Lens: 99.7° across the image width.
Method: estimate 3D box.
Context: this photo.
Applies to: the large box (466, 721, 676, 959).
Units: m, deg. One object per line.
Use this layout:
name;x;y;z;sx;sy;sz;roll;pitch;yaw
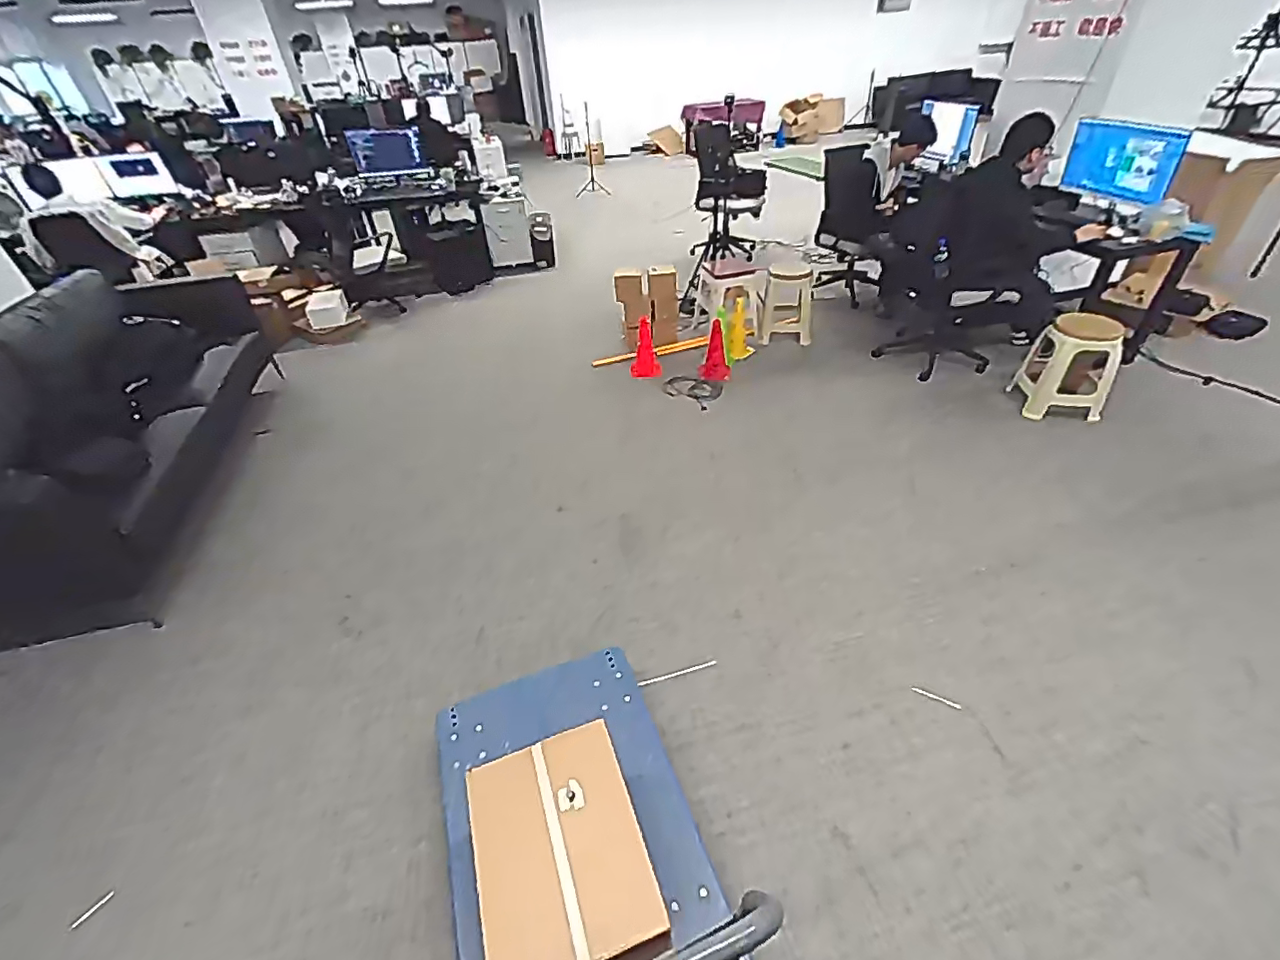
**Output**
large box;-0.147;0.812;1.133;0.320;0.320;0.408;-16;39;-14
